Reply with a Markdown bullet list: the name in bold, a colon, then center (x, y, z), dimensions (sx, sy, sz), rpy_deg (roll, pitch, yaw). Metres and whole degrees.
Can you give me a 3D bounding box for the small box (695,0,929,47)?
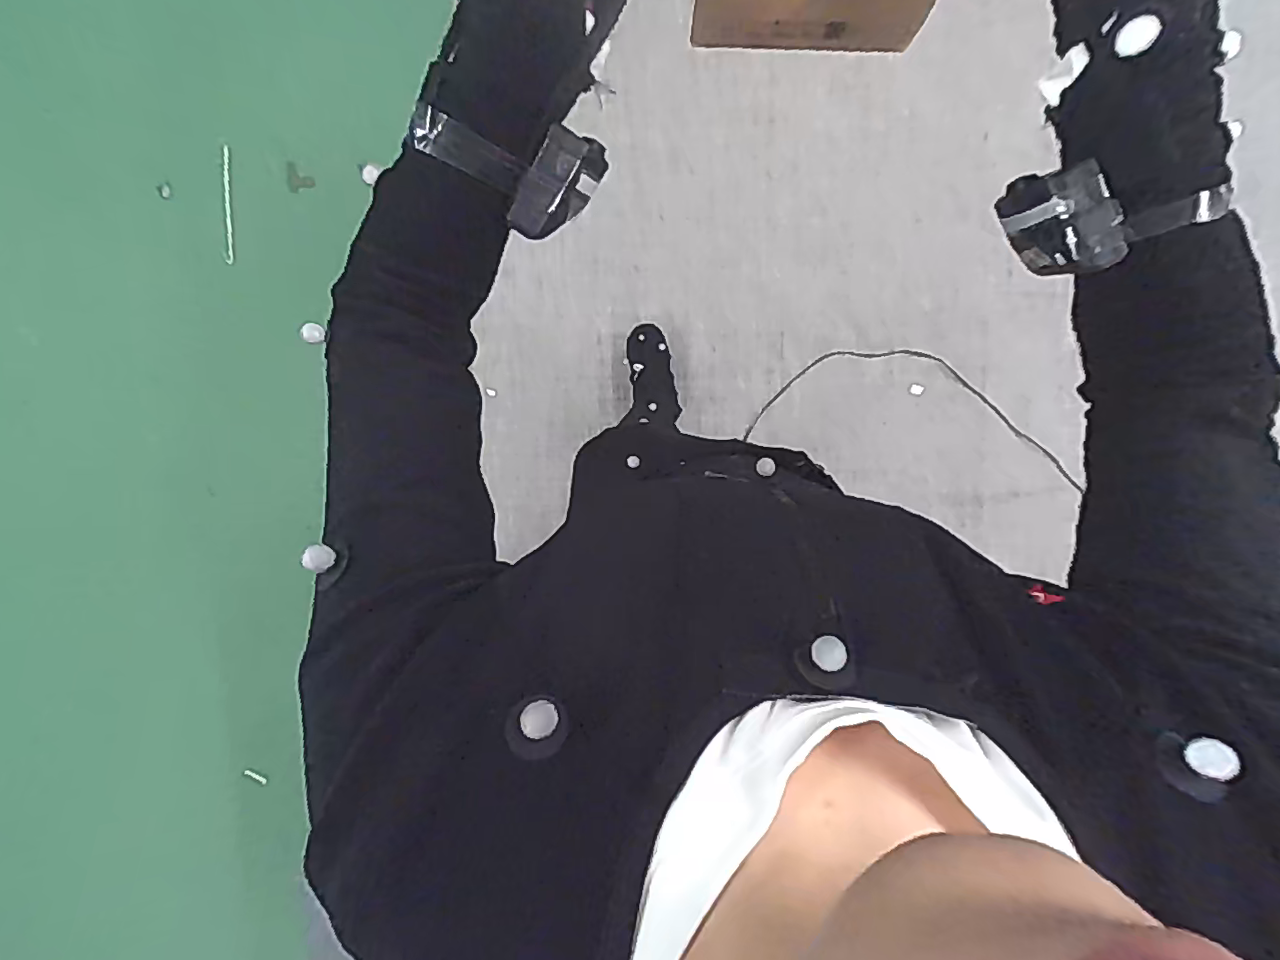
- **small box**: center (0.123, -0.410, 0.328), dimensions (0.168, 0.176, 0.179), rpy_deg (2, 91, 1)
